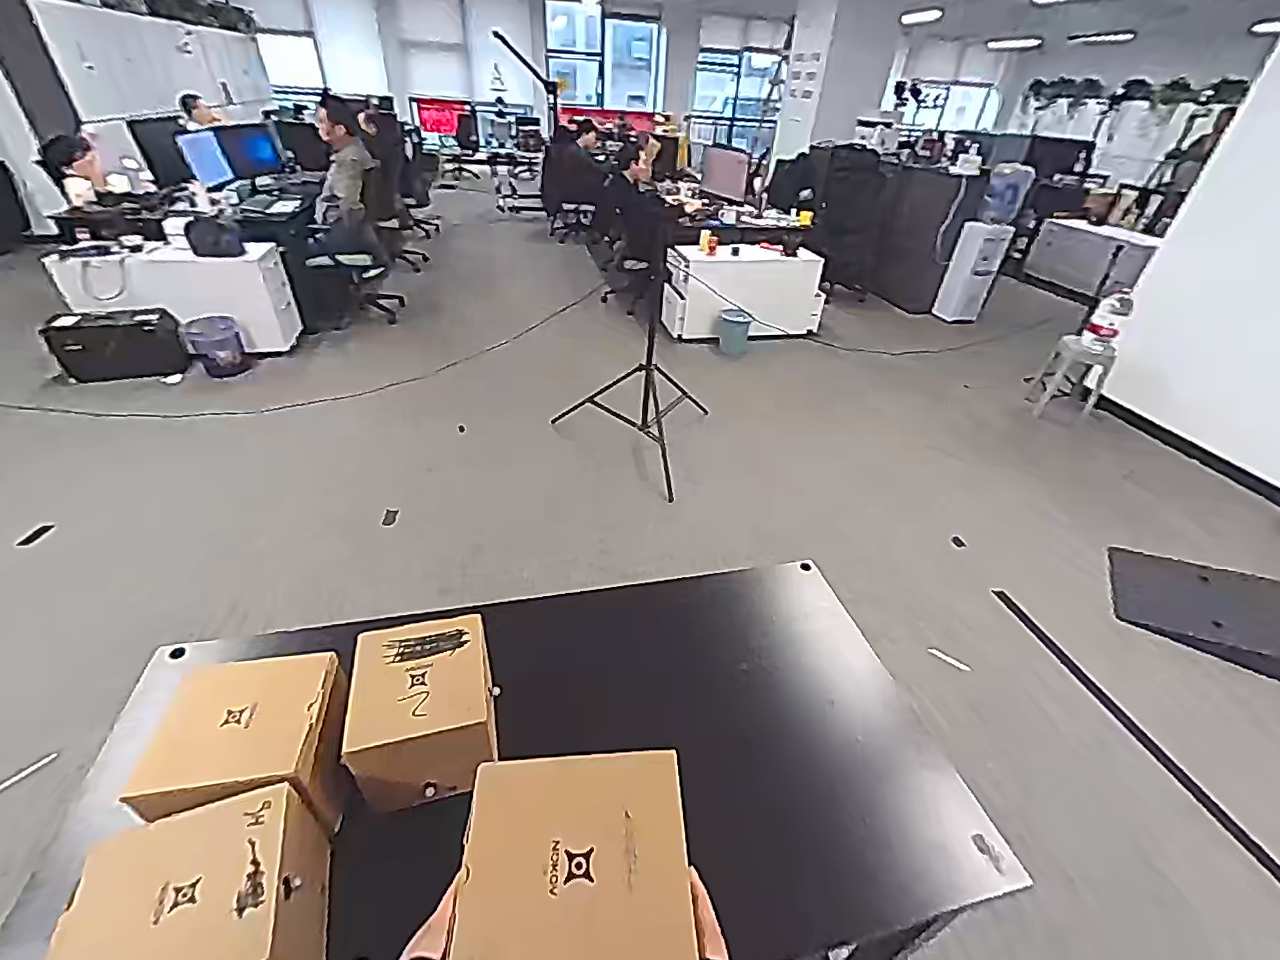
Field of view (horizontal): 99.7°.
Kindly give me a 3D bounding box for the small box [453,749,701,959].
[{"bbox_3d":[-0.045,0.360,0.470,0.179,0.176,0.168,-3,40,-3],"label":"small box"}]
